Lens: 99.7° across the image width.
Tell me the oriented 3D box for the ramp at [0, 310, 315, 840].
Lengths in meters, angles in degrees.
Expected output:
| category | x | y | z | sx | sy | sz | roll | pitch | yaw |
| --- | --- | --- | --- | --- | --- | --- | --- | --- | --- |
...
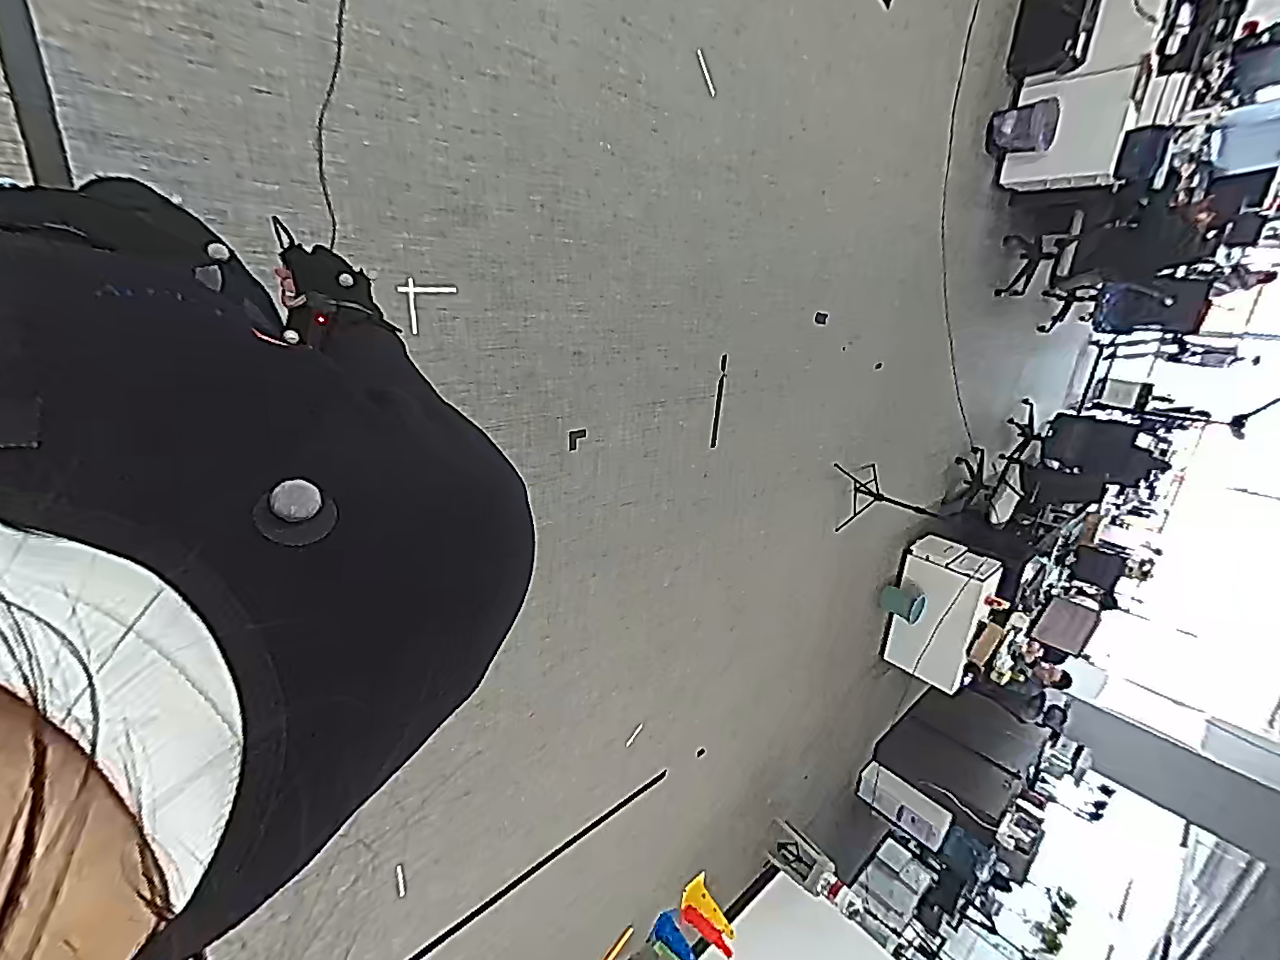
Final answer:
| category | x | y | z | sx | sy | sz | roll | pitch | yaw |
| --- | --- | --- | --- | --- | --- | --- | --- | --- | --- |
| ramp | -1.017 | 0.173 | 1.110 | 0.509 | 0.206 | 0.991 | -12 | 114 | -39 |
